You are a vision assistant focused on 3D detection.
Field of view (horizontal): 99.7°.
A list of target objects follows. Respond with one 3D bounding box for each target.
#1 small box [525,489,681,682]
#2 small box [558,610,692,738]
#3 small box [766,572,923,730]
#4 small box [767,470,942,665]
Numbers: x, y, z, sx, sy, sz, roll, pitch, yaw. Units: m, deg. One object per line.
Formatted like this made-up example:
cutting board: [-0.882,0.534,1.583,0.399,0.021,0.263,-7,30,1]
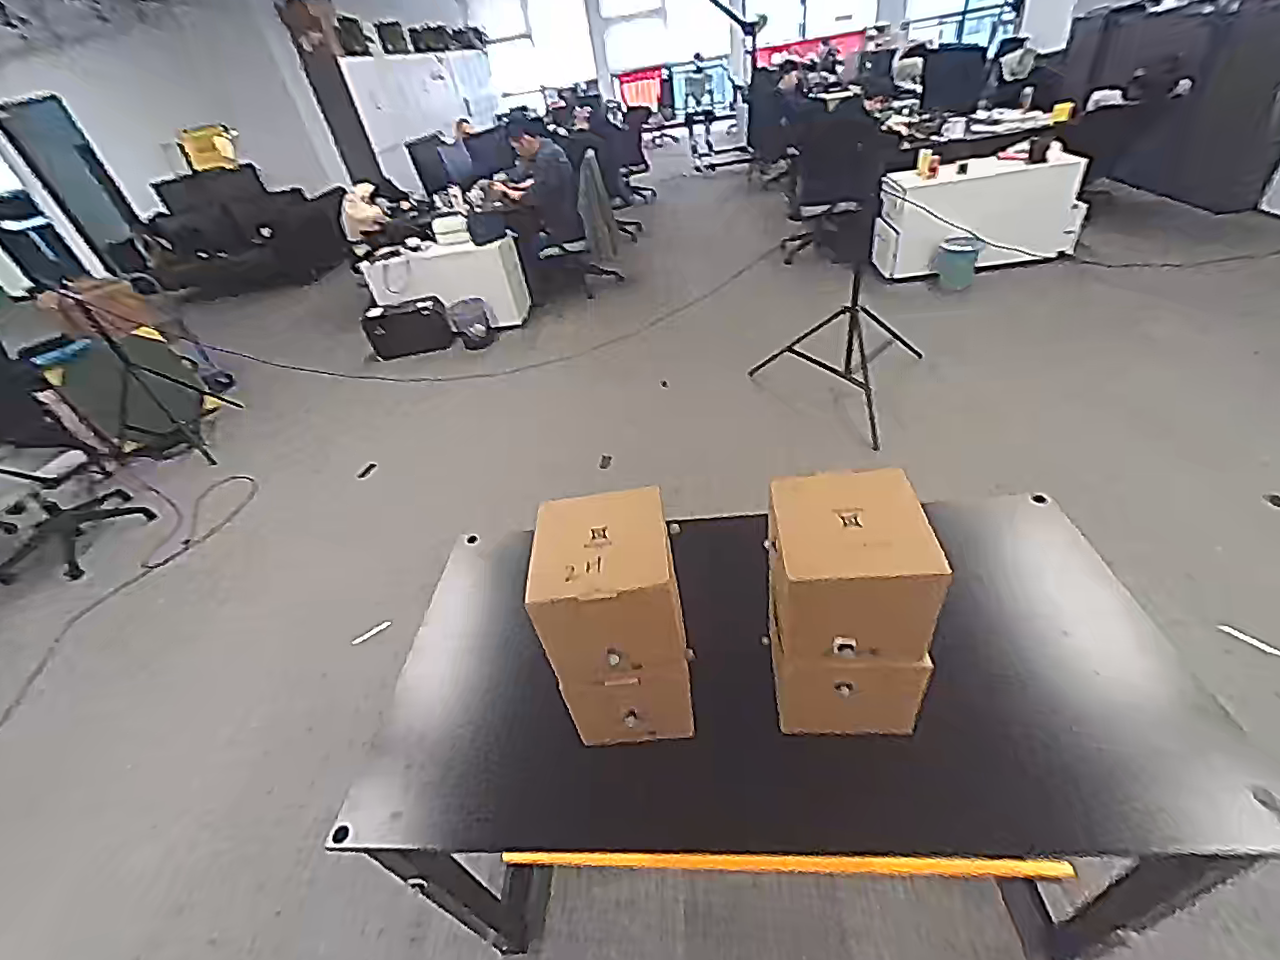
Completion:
small box: [-0.041,0.138,0.717,0.168,0.176,0.179,-9,38,4]
small box: [-0.017,0.269,0.816,0.168,0.176,0.179,-8,38,4]
small box: [0.278,0.241,0.777,0.179,0.176,0.168,-4,38,8]
small box: [0.252,0.110,0.684,0.168,0.176,0.179,-6,39,9]
